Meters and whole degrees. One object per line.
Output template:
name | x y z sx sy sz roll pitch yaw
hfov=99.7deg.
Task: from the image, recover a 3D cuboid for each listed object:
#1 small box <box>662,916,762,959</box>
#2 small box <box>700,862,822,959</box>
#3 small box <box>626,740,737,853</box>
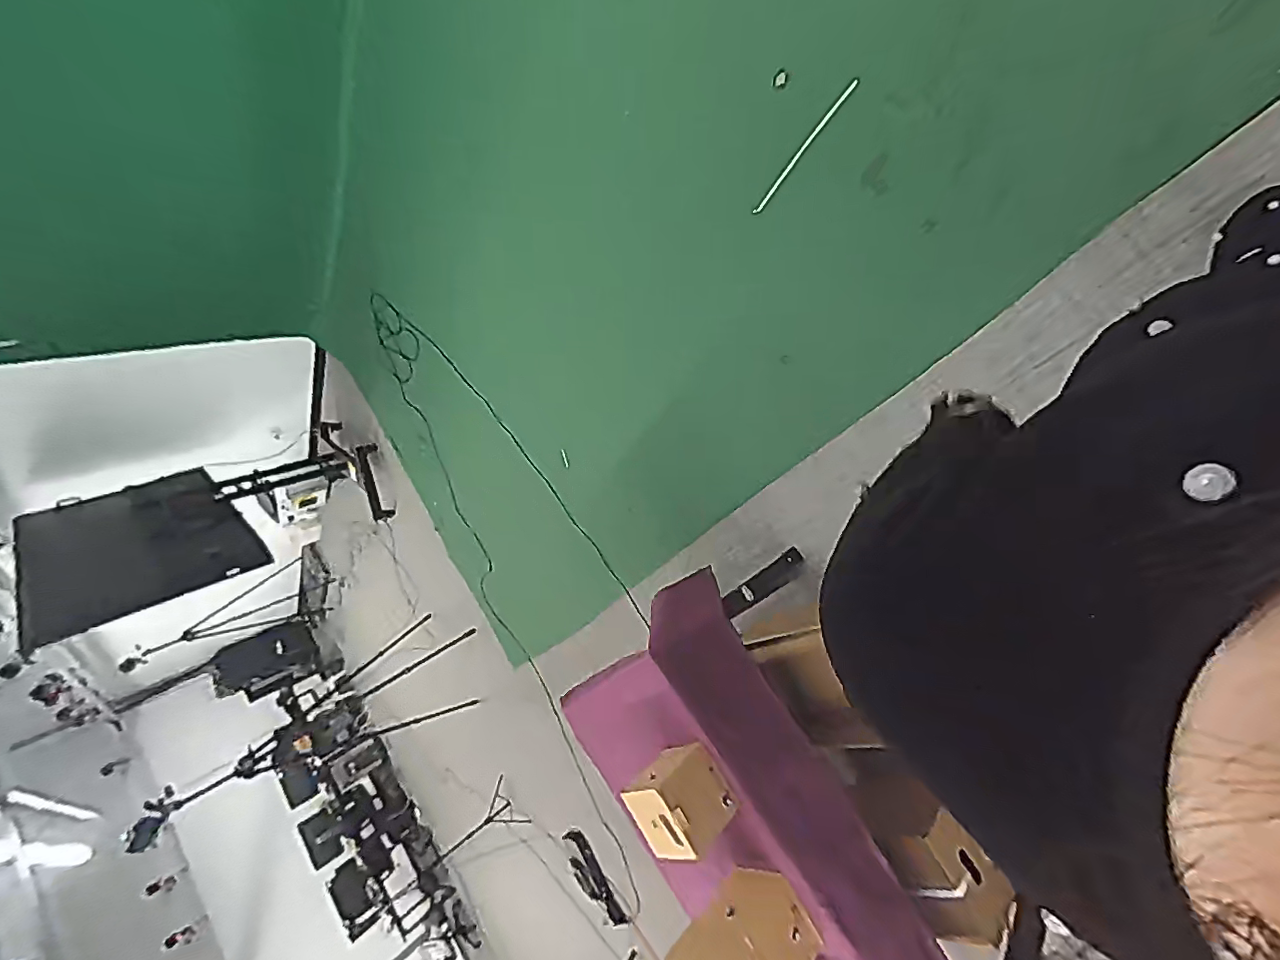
small box | 0.159 1.063 1.126 0.179 0.176 0.168 -37 81 47
small box | 0.276 1.011 1.230 0.179 0.176 0.168 -38 79 47
small box | 0.105 0.745 1.283 0.168 0.176 0.179 56 138 11
